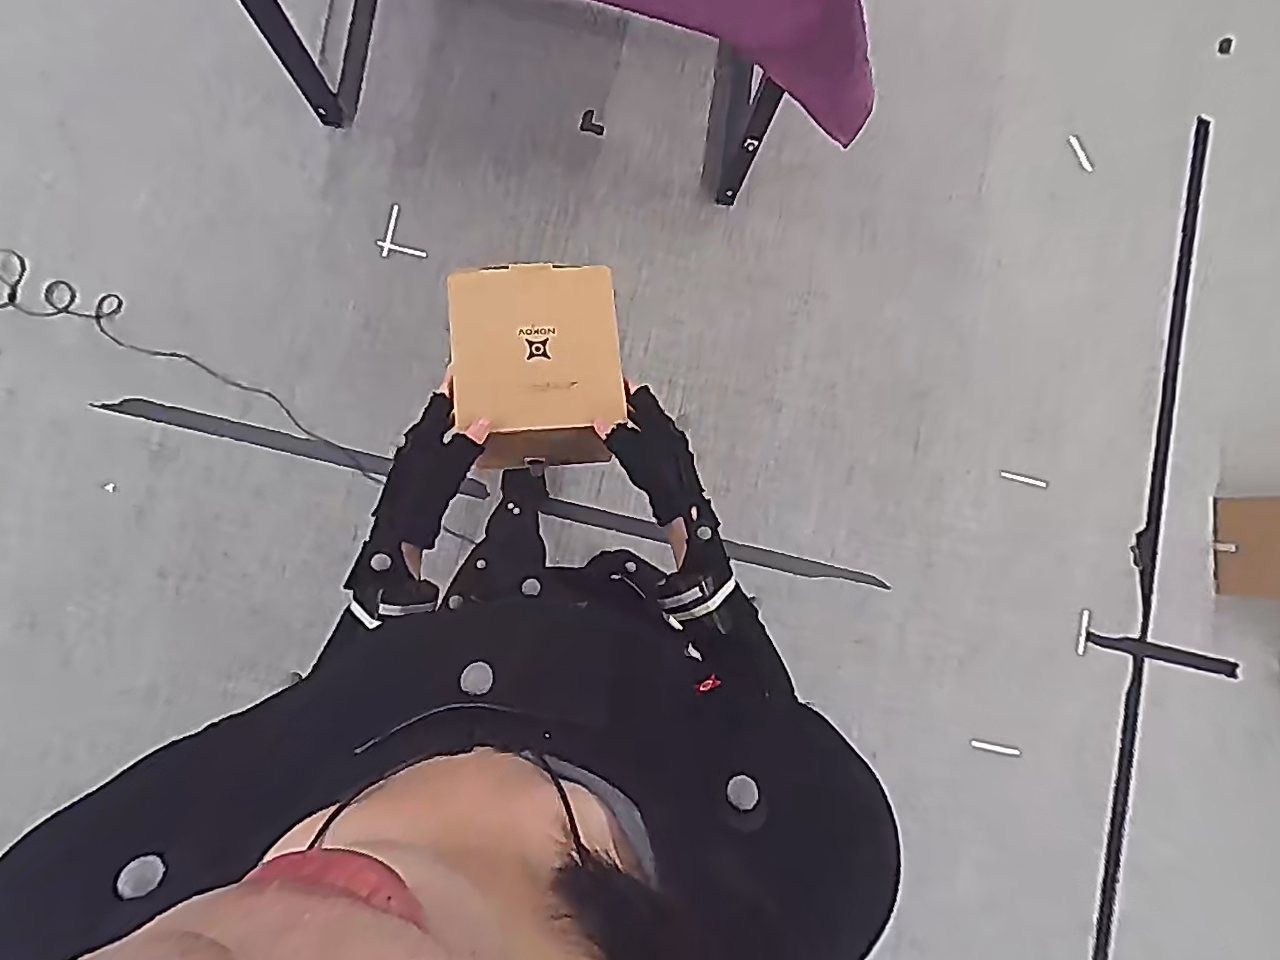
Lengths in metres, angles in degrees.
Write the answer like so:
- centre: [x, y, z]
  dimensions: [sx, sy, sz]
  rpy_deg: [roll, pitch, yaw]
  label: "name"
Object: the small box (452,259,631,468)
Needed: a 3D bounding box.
- centre: [-0.109, -0.122, 0.608]
  dimensions: [0.168, 0.176, 0.179]
  rpy_deg: [-6, 80, -9]
  label: "small box"
